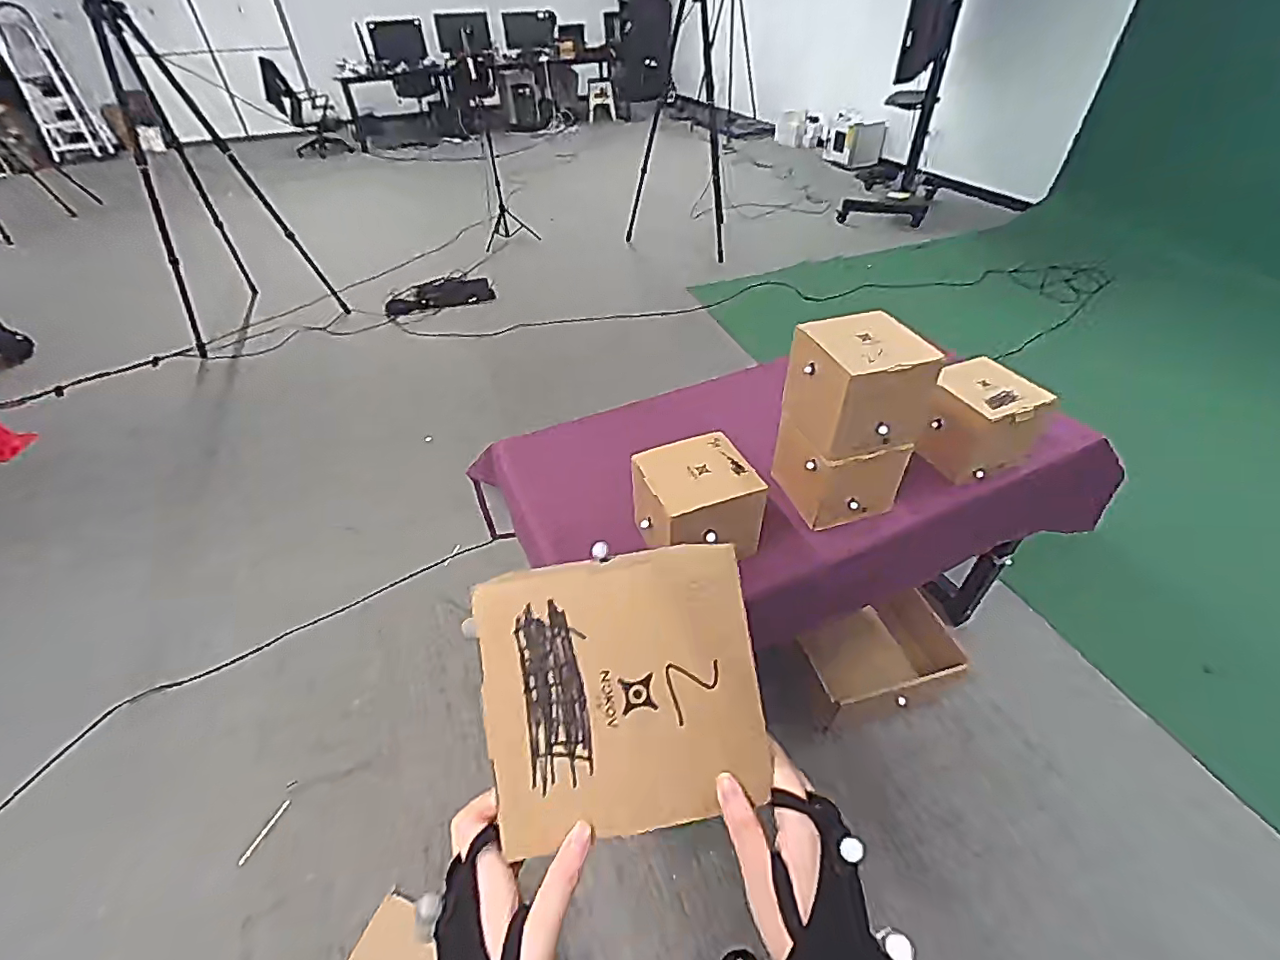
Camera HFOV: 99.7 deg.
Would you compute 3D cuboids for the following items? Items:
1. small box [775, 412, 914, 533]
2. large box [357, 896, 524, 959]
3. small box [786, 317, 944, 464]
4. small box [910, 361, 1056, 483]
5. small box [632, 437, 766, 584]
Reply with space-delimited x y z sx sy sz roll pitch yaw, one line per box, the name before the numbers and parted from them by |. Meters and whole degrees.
small box | 0.374 -0.028 1.029 0.168 0.176 0.179 -13 44 -11
large box | -0.368 1.023 0.902 0.320 0.320 0.408 13 44 15
small box | 0.367 -0.154 0.923 0.168 0.176 0.179 -13 44 -10
small box | 0.676 -0.113 1.101 0.168 0.176 0.179 -17 43 -14
small box | 0.099 0.056 0.950 0.179 0.176 0.168 -17 45 -14
